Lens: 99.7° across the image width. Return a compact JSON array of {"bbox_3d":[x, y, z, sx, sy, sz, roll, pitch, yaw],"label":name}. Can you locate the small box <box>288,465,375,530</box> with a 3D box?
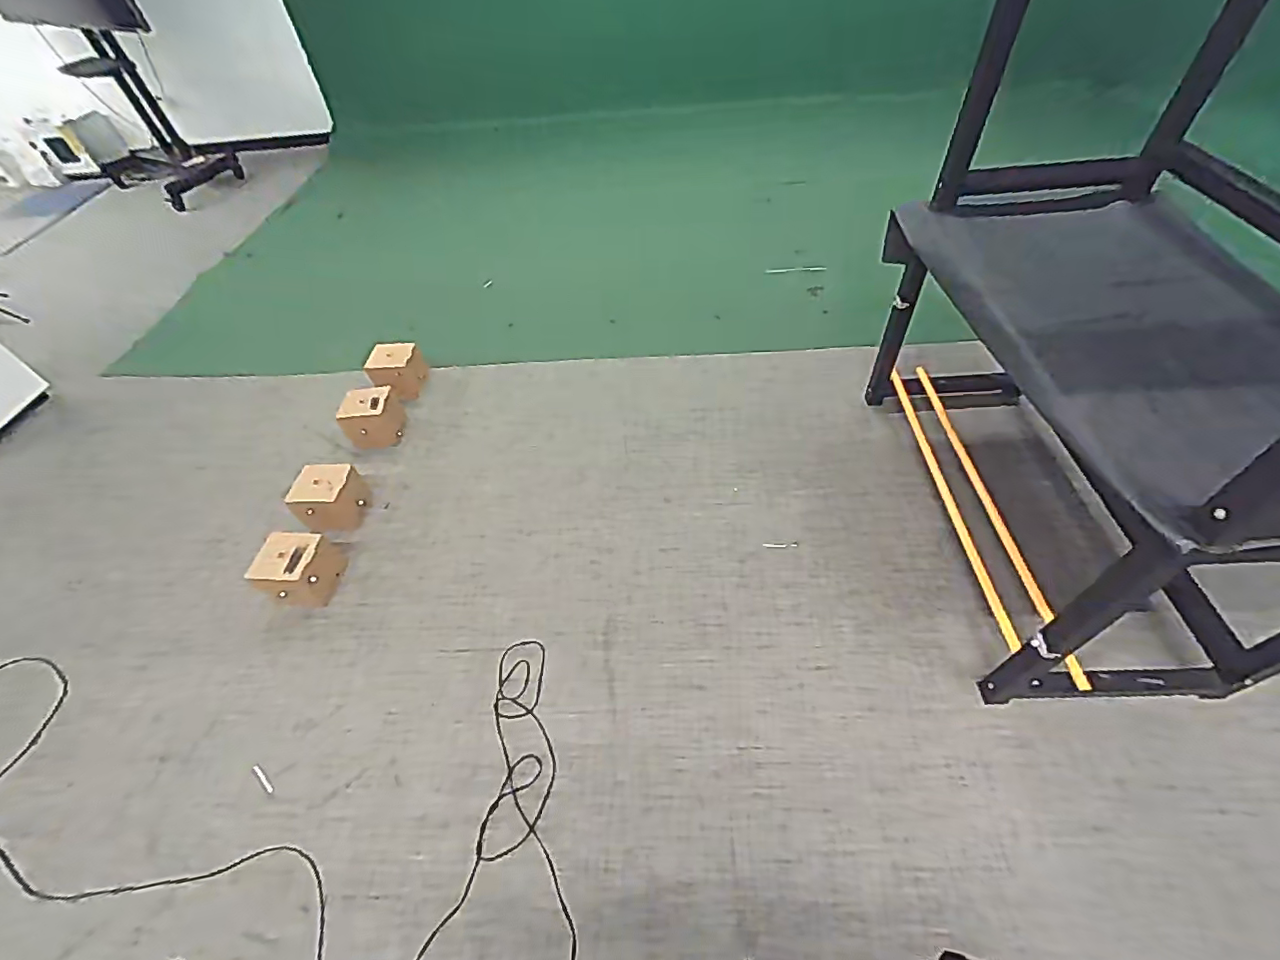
[{"bbox_3d":[-1.063,0.063,1.877,0.179,0.176,0.168,0,50,4],"label":"small box"}]

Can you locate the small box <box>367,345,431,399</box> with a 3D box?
[{"bbox_3d":[-1.032,-0.463,2.332,0.179,0.176,0.168,-2,50,3],"label":"small box"}]

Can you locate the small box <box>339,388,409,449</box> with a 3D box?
[{"bbox_3d":[-1.044,-0.241,2.140,0.179,0.176,0.168,-5,49,2],"label":"small box"}]
